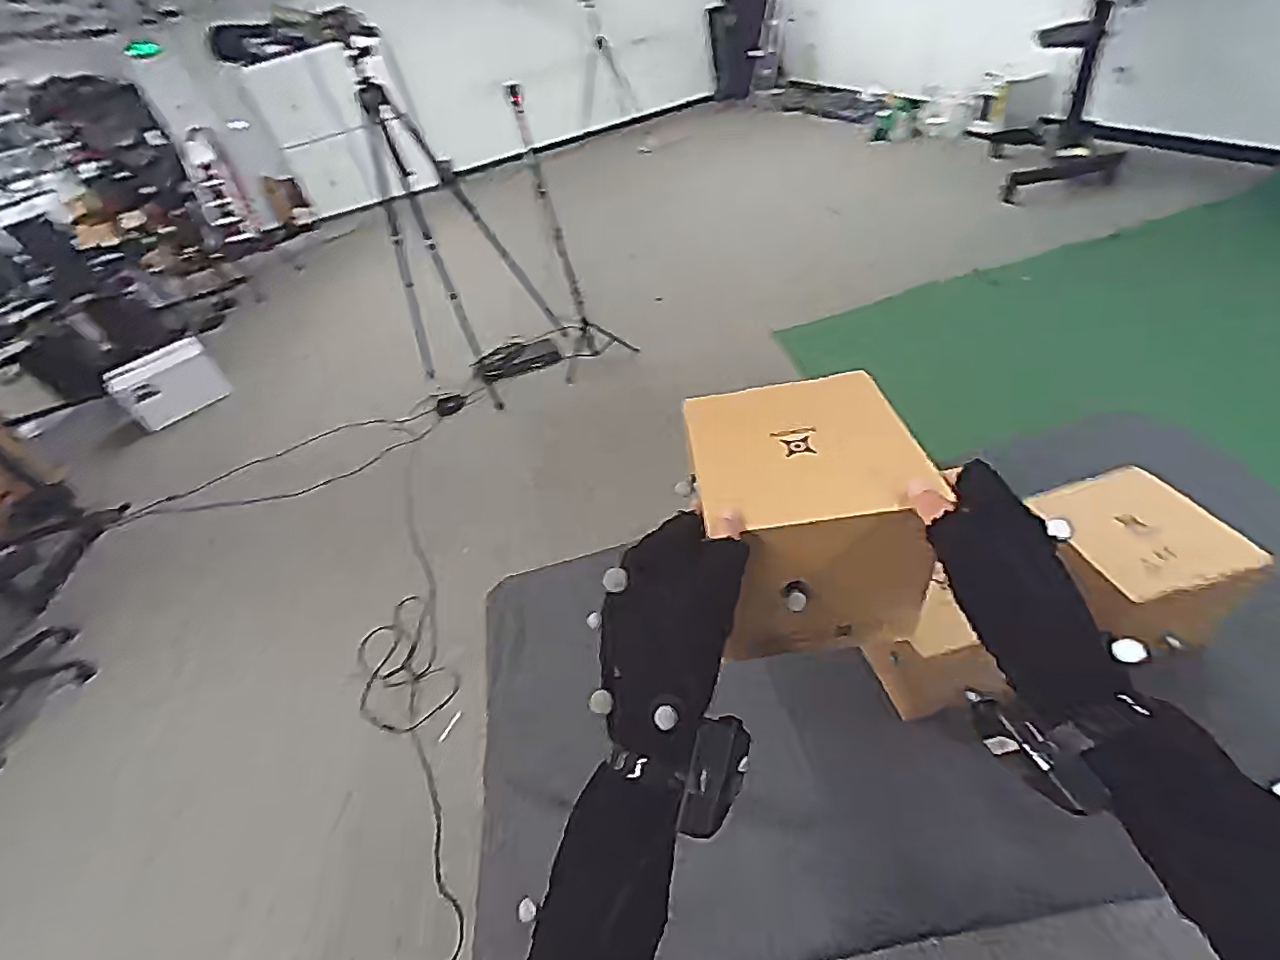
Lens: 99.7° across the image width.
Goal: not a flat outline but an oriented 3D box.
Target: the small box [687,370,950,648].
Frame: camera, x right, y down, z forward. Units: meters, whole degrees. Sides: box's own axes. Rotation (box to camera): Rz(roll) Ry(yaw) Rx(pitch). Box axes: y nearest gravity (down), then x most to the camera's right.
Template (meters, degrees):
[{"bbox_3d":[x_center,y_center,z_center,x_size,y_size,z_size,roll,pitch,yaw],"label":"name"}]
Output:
[{"bbox_3d":[0.138,0.030,0.475,0.168,0.176,0.179,-9,39,5],"label":"small box"}]

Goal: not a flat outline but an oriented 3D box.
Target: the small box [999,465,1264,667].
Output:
[{"bbox_3d":[0.620,0.113,0.717,0.168,0.176,0.179,-17,41,1],"label":"small box"}]
